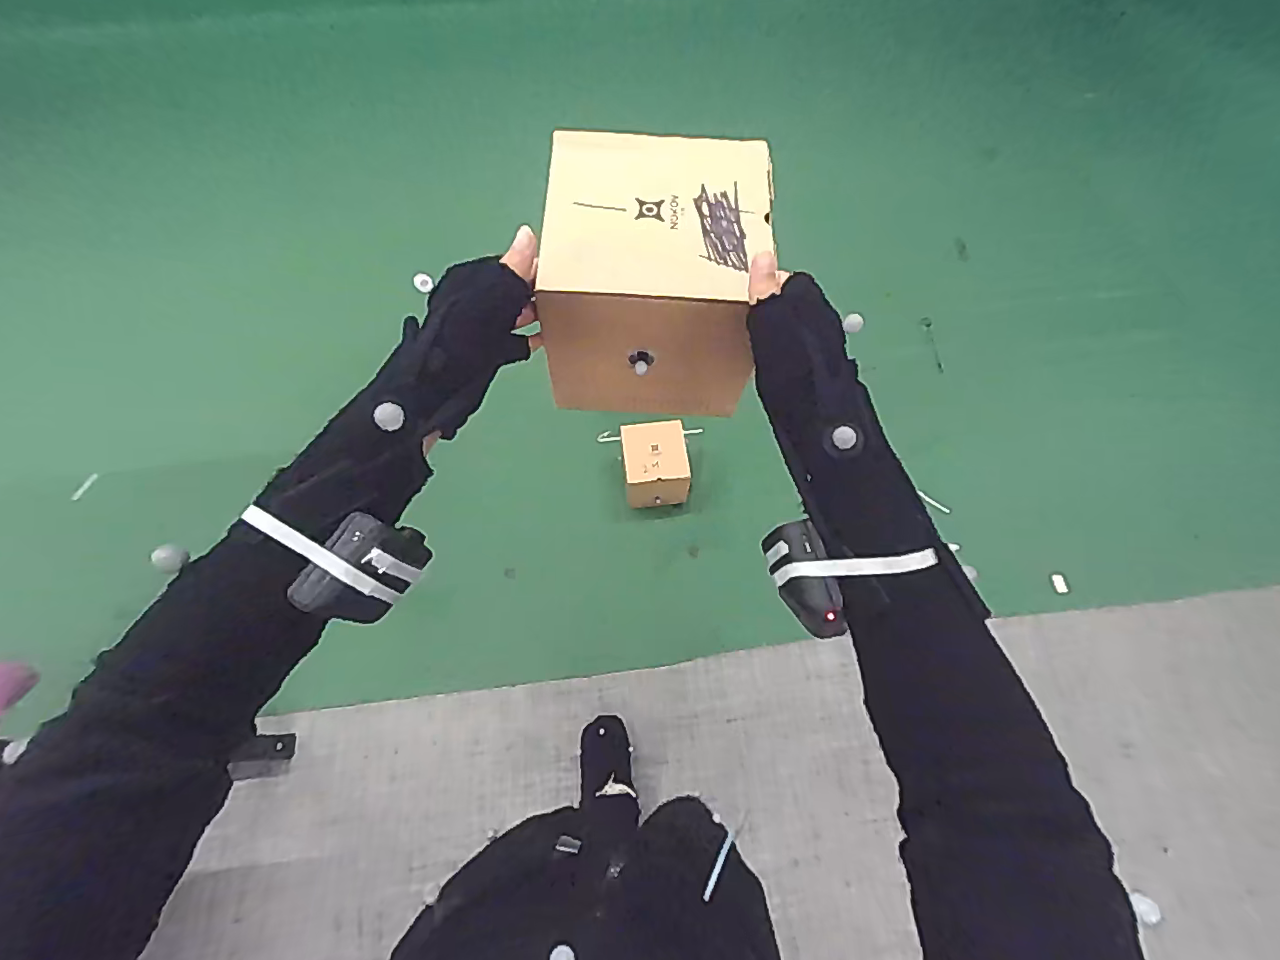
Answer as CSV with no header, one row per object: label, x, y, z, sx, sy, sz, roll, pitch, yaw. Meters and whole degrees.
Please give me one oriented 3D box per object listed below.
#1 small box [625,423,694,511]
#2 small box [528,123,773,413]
small box,0.047,-0.032,1.478,0.168,0.176,0.179,-6,64,-3
small box,0.009,-0.175,0.485,0.179,0.176,0.168,6,65,-1
